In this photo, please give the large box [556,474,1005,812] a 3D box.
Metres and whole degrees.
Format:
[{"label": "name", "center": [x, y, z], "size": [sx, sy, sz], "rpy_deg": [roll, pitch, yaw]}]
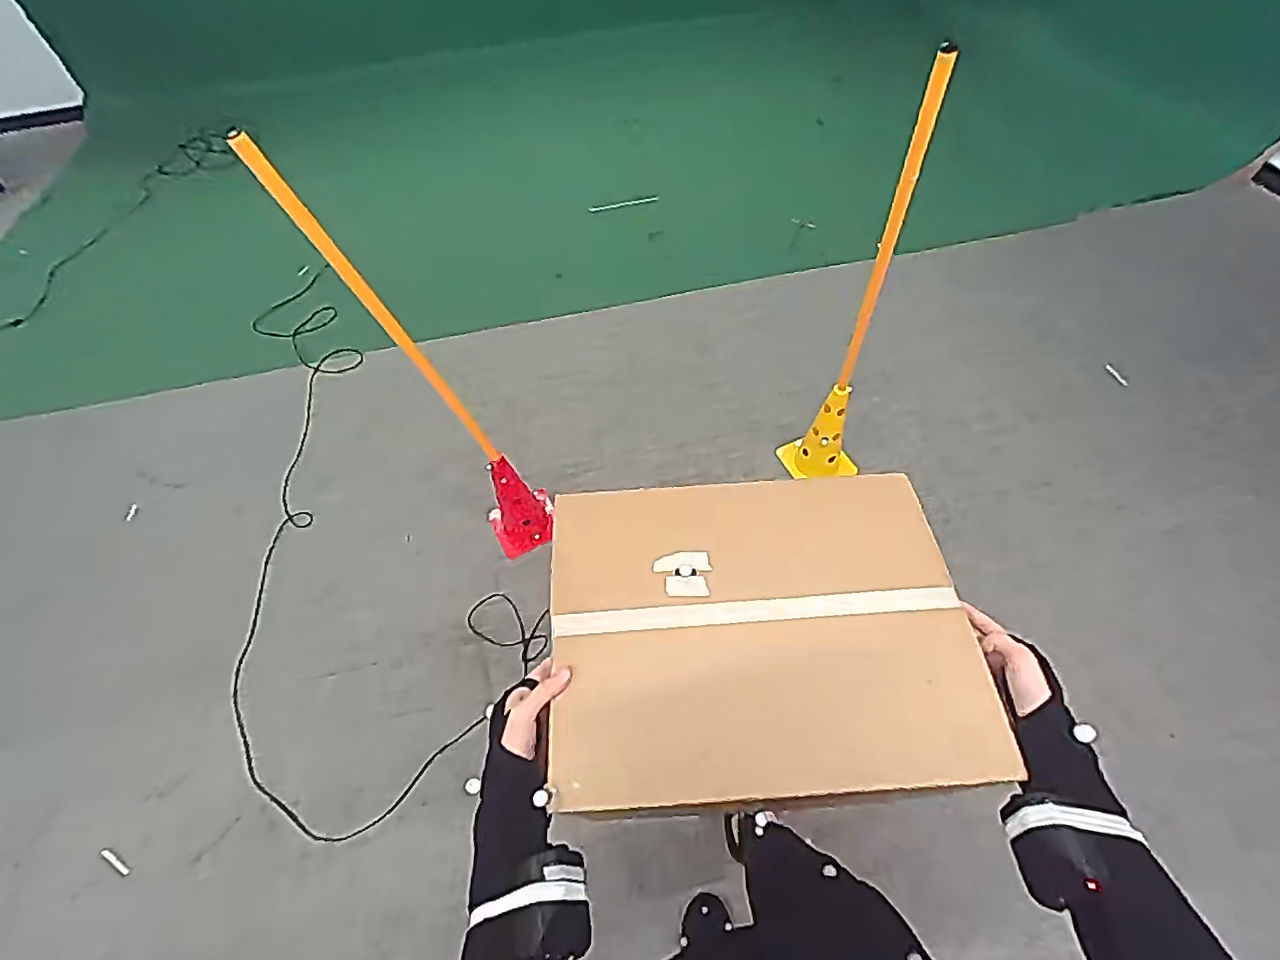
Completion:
[{"label": "large box", "center": [0.122, 0.218, 0.676], "size": [0.408, 0.320, 0.320], "rpy_deg": [-5, 56, 0]}]
